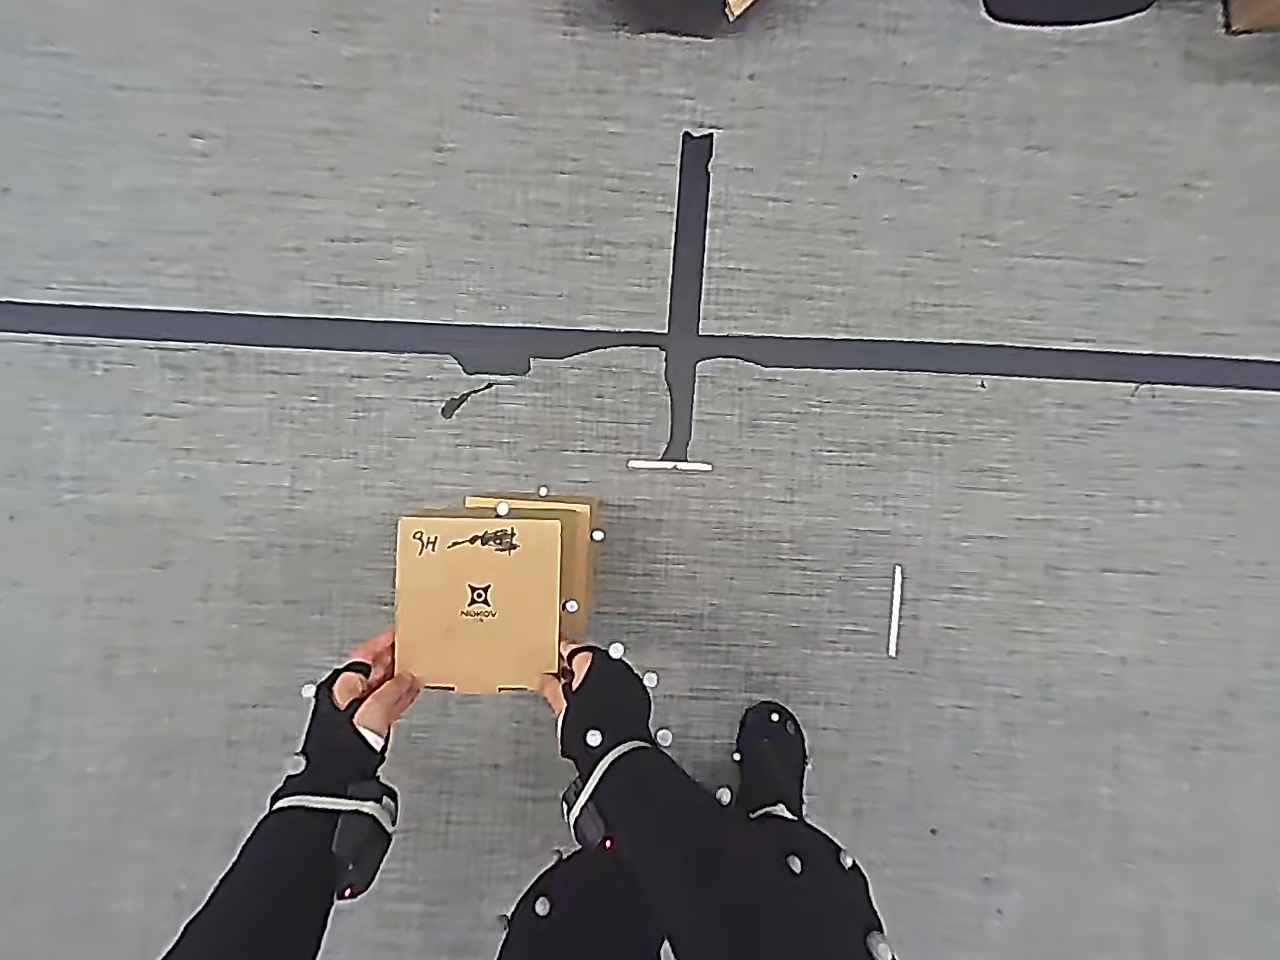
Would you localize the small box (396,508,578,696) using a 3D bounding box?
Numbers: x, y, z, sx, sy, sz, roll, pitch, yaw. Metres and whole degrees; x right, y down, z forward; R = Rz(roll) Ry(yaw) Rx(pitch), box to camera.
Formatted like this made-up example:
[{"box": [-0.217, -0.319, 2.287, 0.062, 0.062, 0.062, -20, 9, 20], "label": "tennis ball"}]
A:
[{"box": [-0.163, 0.129, 0.626, 0.168, 0.176, 0.179, 2, 90, -1], "label": "small box"}]

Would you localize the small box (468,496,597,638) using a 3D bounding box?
[{"box": [-0.154, 0.116, 0.791, 0.168, 0.176, 0.179, 4, 91, -1], "label": "small box"}]
